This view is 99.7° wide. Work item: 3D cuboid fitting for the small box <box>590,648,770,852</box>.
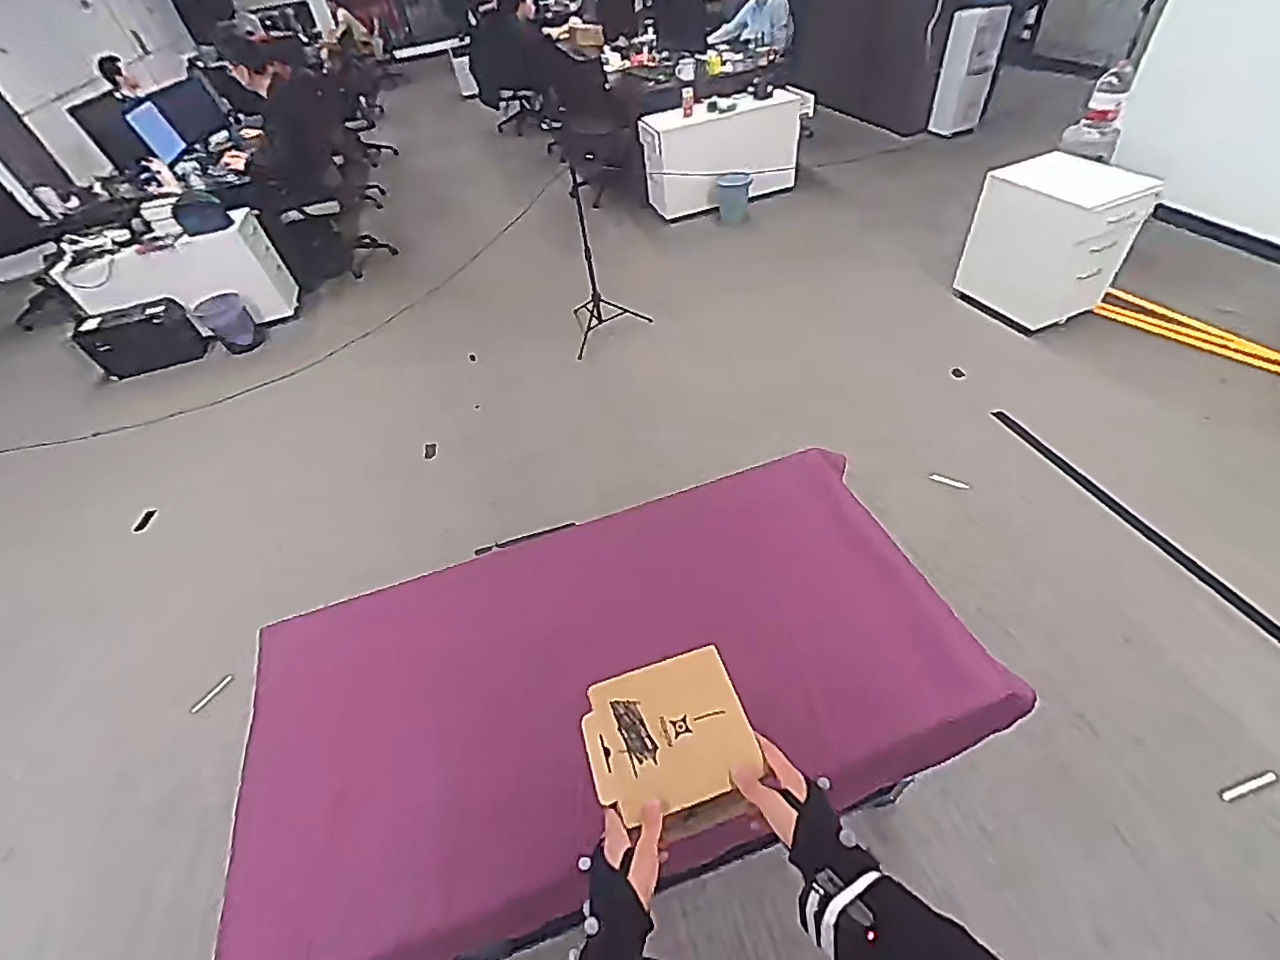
[{"bbox_3d":[0.047,0.352,0.701,0.179,0.176,0.168,-15,48,-10],"label":"small box"}]
